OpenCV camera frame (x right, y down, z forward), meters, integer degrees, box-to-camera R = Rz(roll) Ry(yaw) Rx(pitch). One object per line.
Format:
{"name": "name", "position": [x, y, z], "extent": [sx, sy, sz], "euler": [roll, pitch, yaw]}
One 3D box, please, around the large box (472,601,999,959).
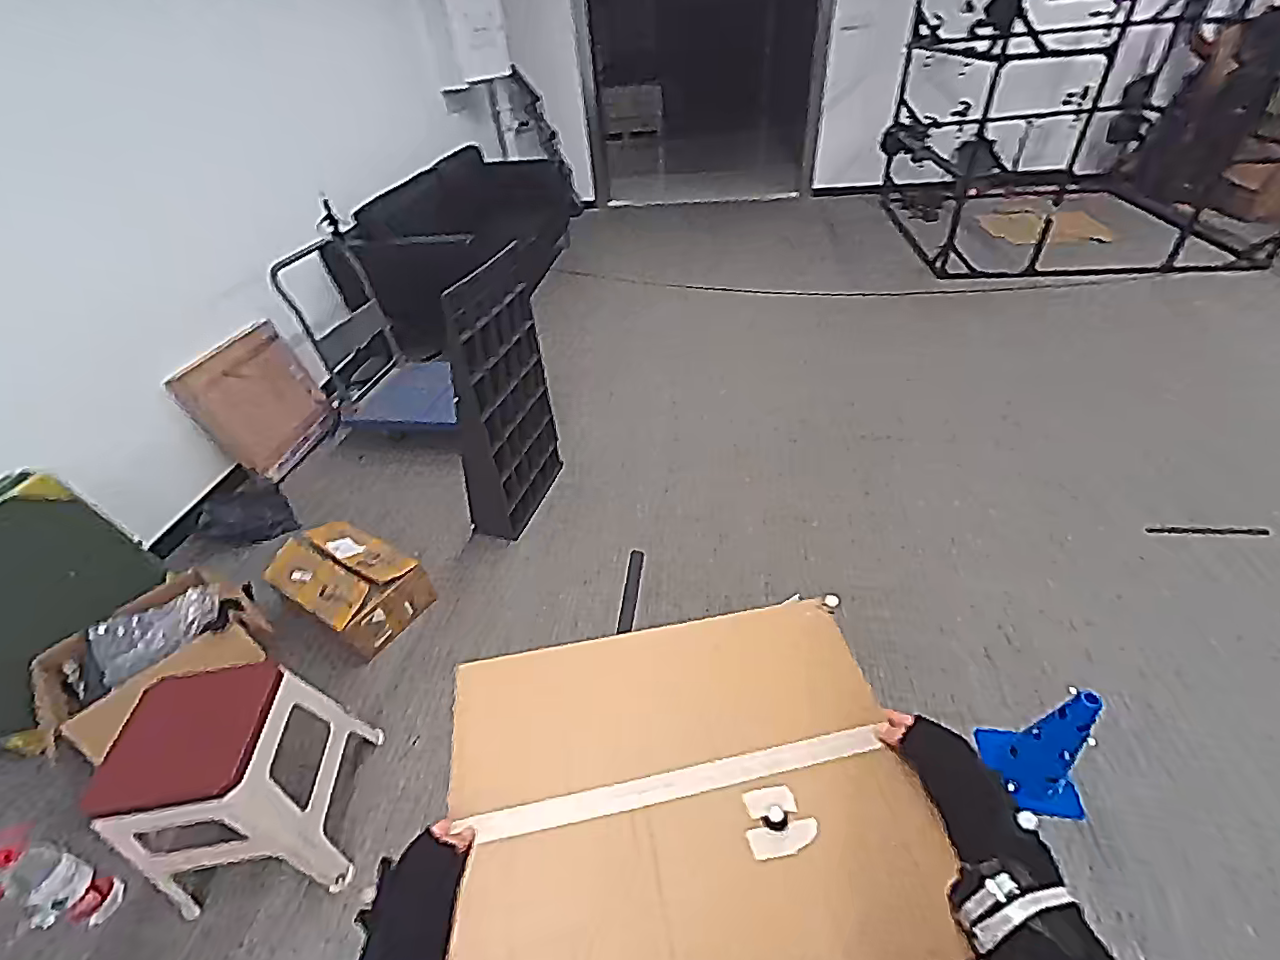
{"name": "large box", "position": [0.052, 0.378, 0.589], "extent": [0.408, 0.320, 0.320], "euler": [-7, 44, -7]}

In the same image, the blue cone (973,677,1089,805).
{"name": "blue cone", "position": [0.959, 0.590, 1.271], "extent": [0.193, 0.380, 0.192], "euler": [3, 40, 10]}
